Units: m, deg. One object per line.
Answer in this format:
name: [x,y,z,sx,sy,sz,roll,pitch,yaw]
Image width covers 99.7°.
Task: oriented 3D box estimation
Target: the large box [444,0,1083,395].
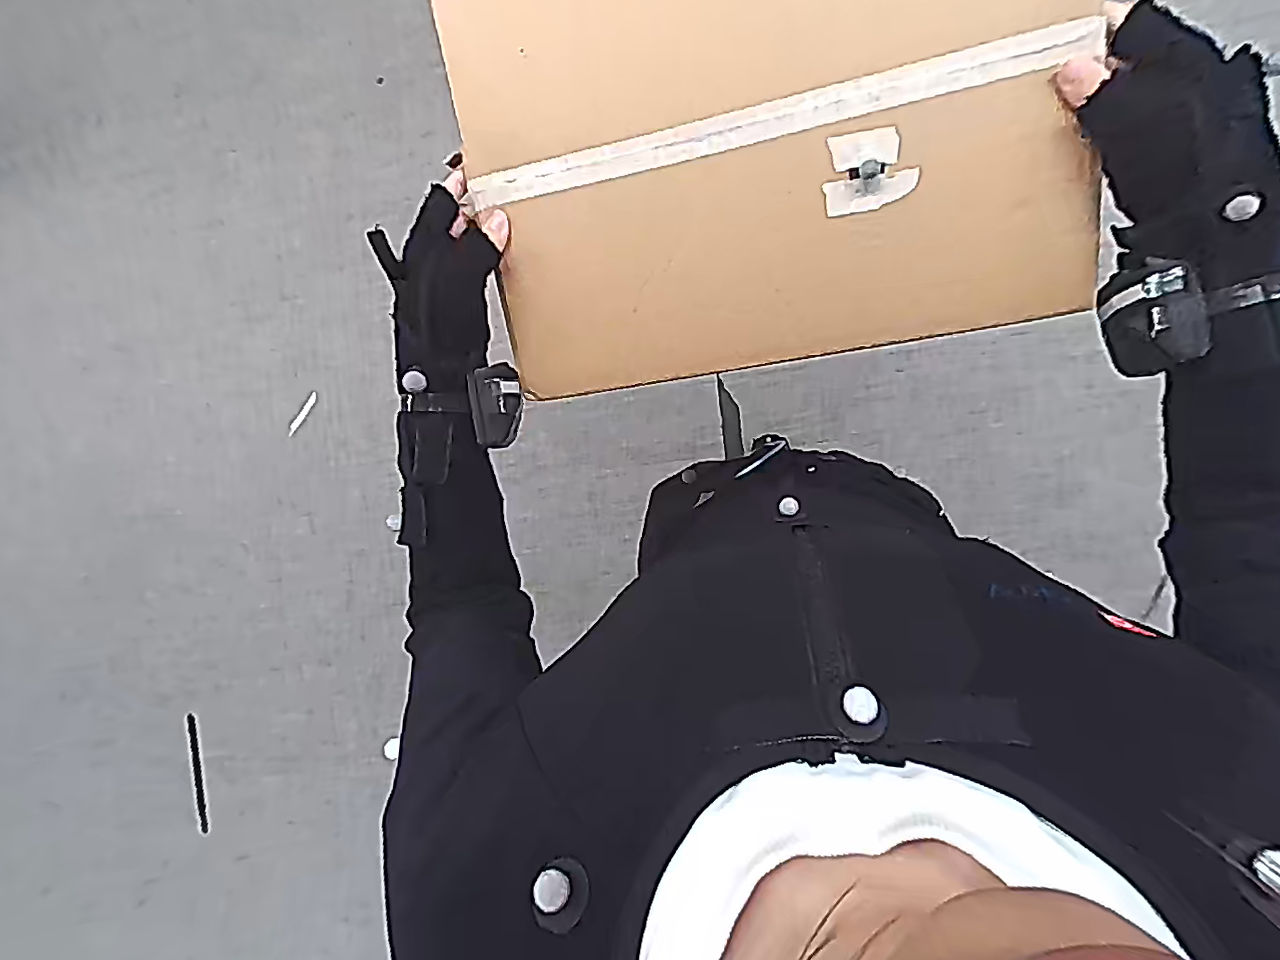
large box: [0.100,-0.284,0.512,0.408,0.320,0.320,-8,105,10]
